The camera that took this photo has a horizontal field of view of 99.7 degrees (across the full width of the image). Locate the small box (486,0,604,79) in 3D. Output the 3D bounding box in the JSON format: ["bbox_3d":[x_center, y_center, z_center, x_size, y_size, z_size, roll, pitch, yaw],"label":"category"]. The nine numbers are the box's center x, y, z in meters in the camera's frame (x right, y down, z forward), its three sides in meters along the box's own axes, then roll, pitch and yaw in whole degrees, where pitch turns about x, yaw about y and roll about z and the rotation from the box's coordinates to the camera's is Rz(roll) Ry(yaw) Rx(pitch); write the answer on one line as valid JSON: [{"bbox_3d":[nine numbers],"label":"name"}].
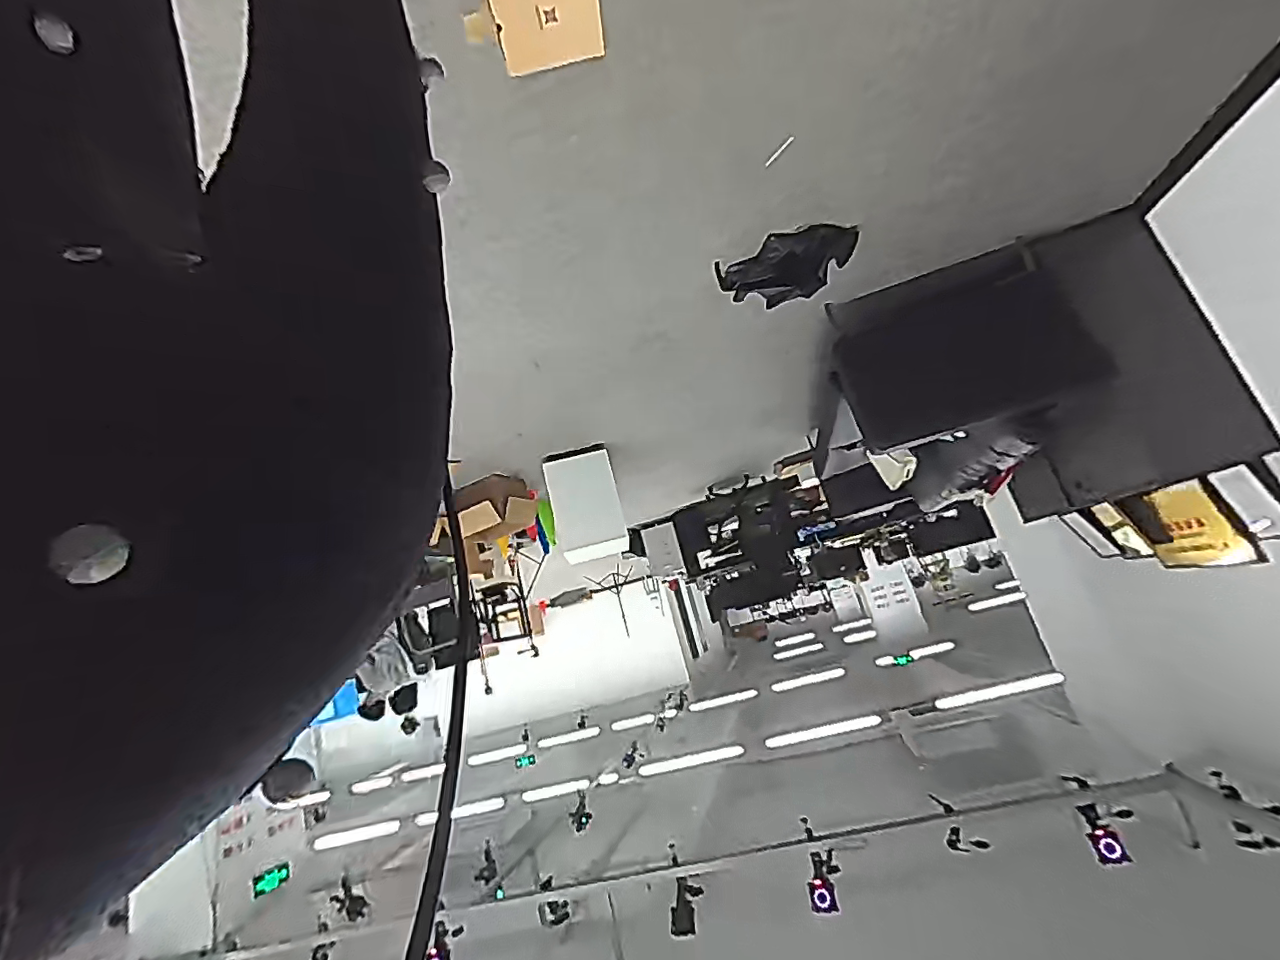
[{"bbox_3d":[-0.169,-0.816,0.883,0.179,0.176,0.168,-15,166,-1],"label":"small box"}]
